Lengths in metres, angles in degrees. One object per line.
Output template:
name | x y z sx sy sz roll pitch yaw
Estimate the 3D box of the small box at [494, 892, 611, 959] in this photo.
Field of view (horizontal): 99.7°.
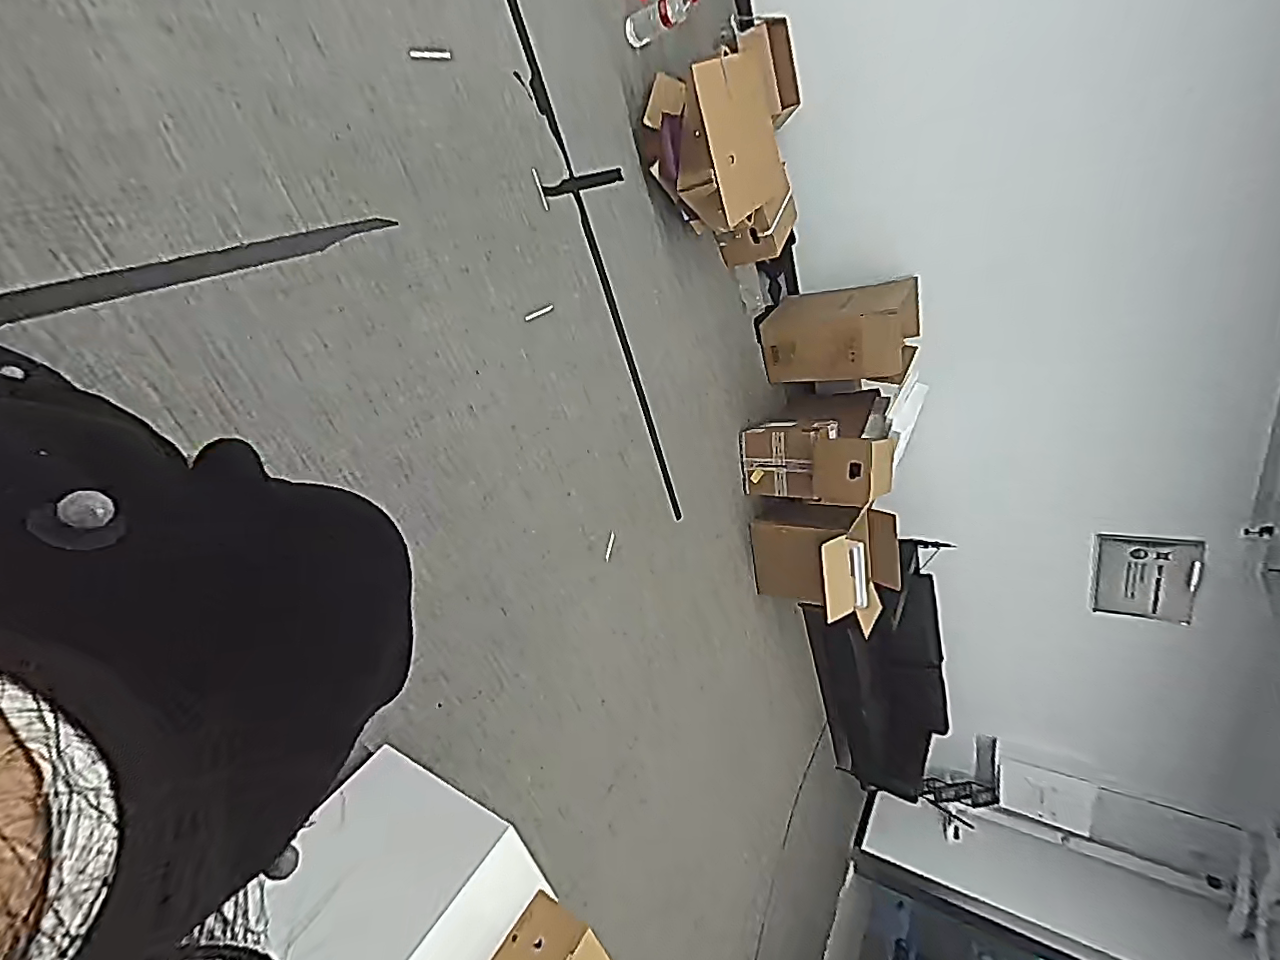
small box | -0.198 1.083 1.220 0.168 0.176 0.179 -41 122 -42
